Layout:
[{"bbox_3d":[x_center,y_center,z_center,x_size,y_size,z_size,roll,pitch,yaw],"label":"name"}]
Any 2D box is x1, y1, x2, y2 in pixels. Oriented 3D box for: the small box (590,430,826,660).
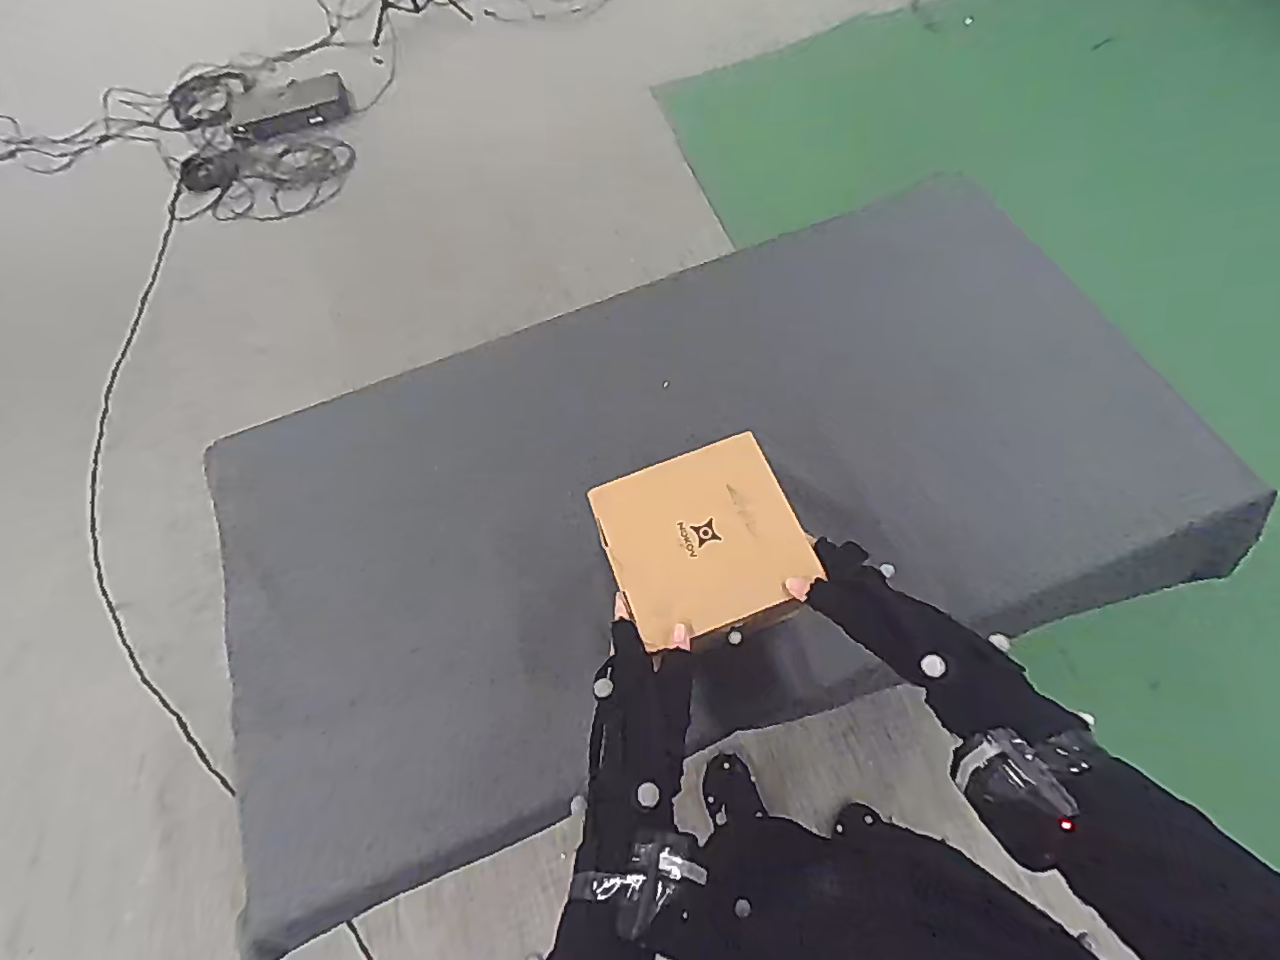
[{"bbox_3d":[0.064,0.079,0.574,0.179,0.176,0.168,-21,68,-6],"label":"small box"}]
